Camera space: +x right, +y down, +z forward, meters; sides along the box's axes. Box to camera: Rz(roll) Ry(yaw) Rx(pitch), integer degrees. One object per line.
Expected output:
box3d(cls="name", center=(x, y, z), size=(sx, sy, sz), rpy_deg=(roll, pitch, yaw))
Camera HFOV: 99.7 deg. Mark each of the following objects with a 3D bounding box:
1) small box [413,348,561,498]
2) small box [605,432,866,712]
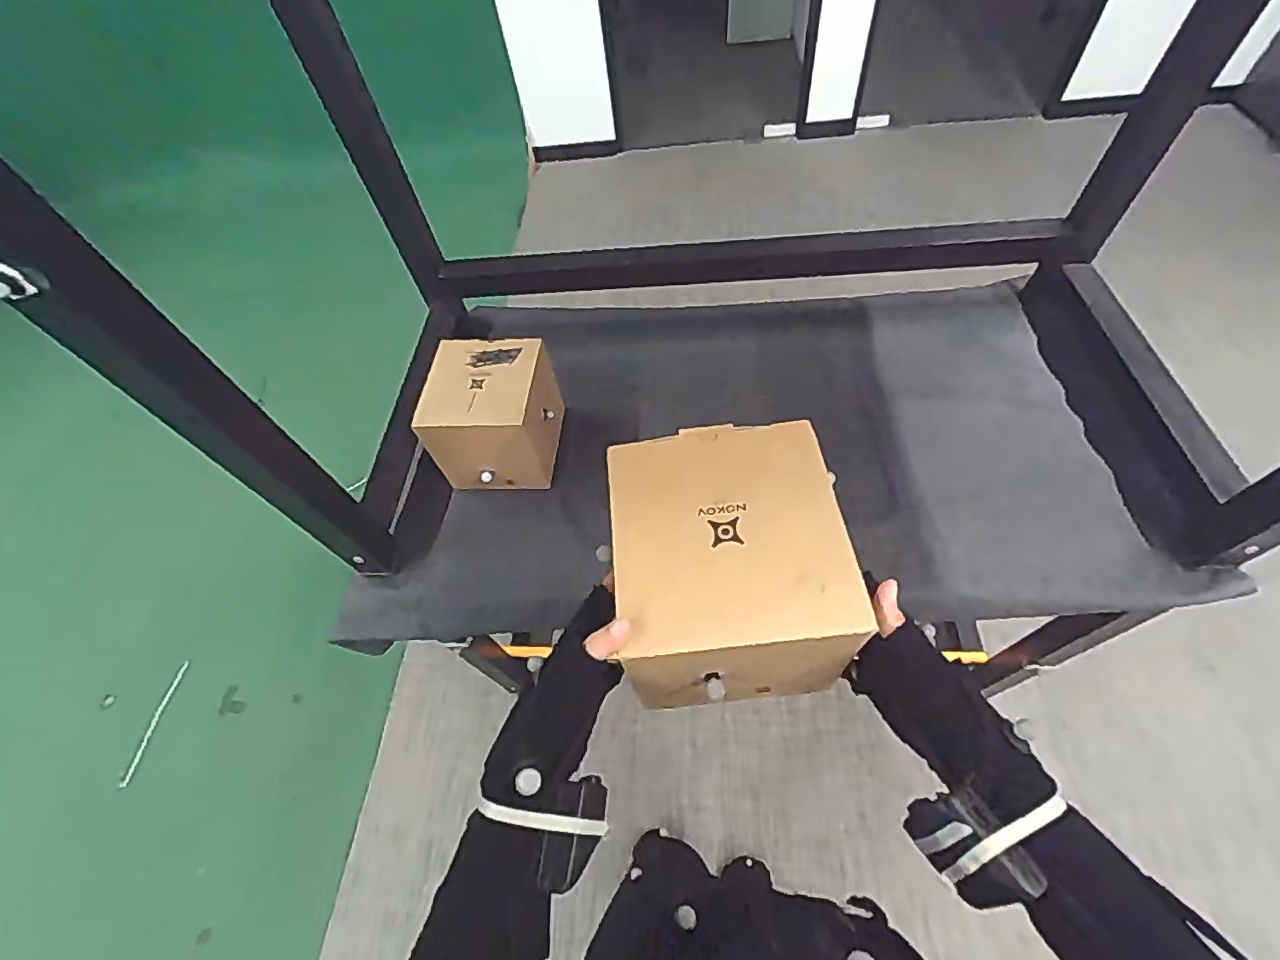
box3d(cls="small box", center=(-0.229, -0.090, 0.866), size=(0.168, 0.176, 0.179), rpy_deg=(0, 57, 6))
box3d(cls="small box", center=(0.067, 0.087, 0.456), size=(0.168, 0.176, 0.179), rpy_deg=(-7, 54, 2))
